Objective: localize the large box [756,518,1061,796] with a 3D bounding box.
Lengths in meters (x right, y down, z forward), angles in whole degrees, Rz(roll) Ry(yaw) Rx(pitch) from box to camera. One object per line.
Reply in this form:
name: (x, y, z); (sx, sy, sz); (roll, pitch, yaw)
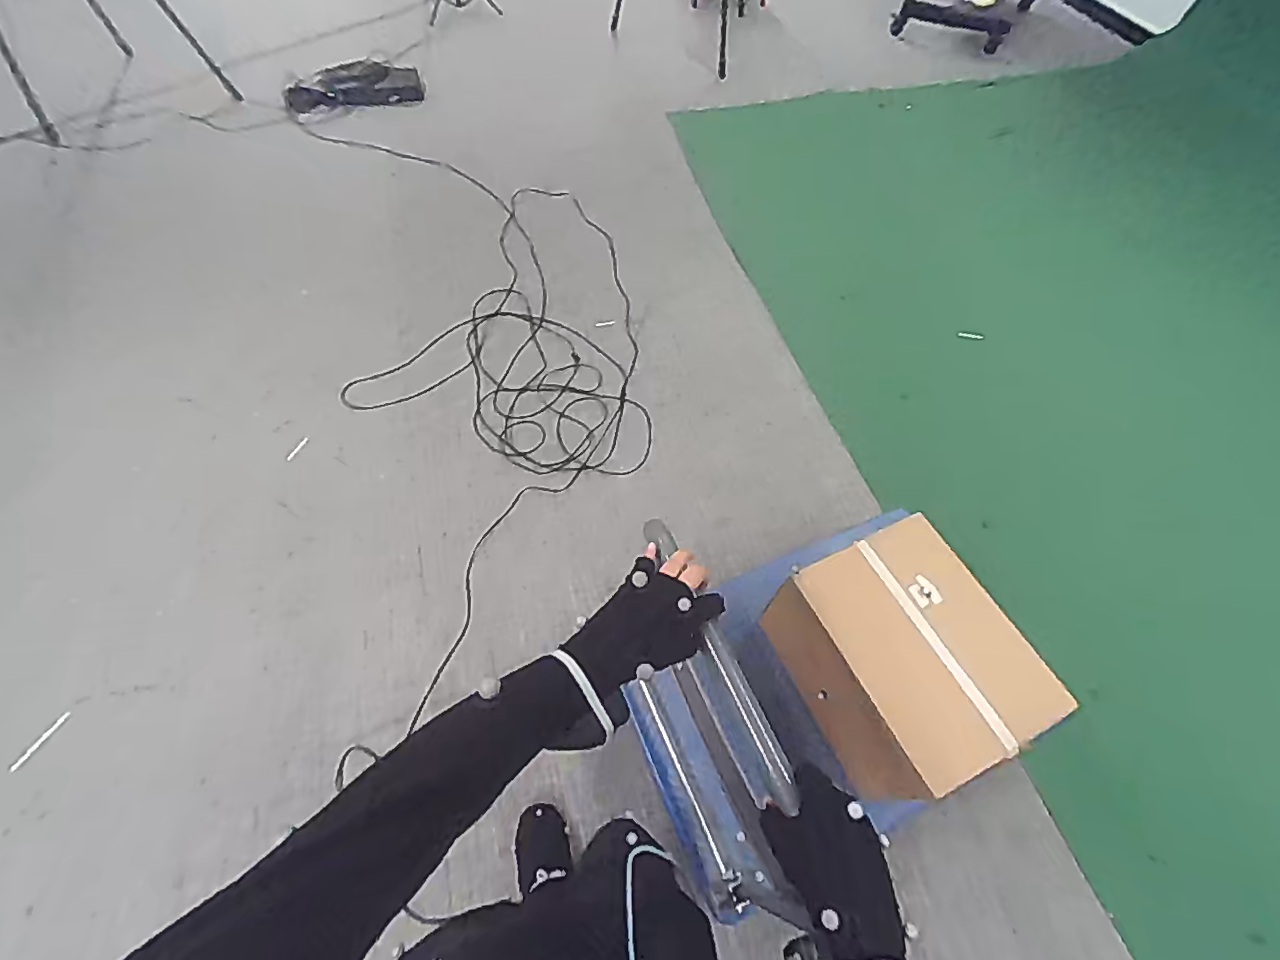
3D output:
large box: (0.492, 0.359, 1.096); (0.320, 0.320, 0.408); (-22, 62, -15)
